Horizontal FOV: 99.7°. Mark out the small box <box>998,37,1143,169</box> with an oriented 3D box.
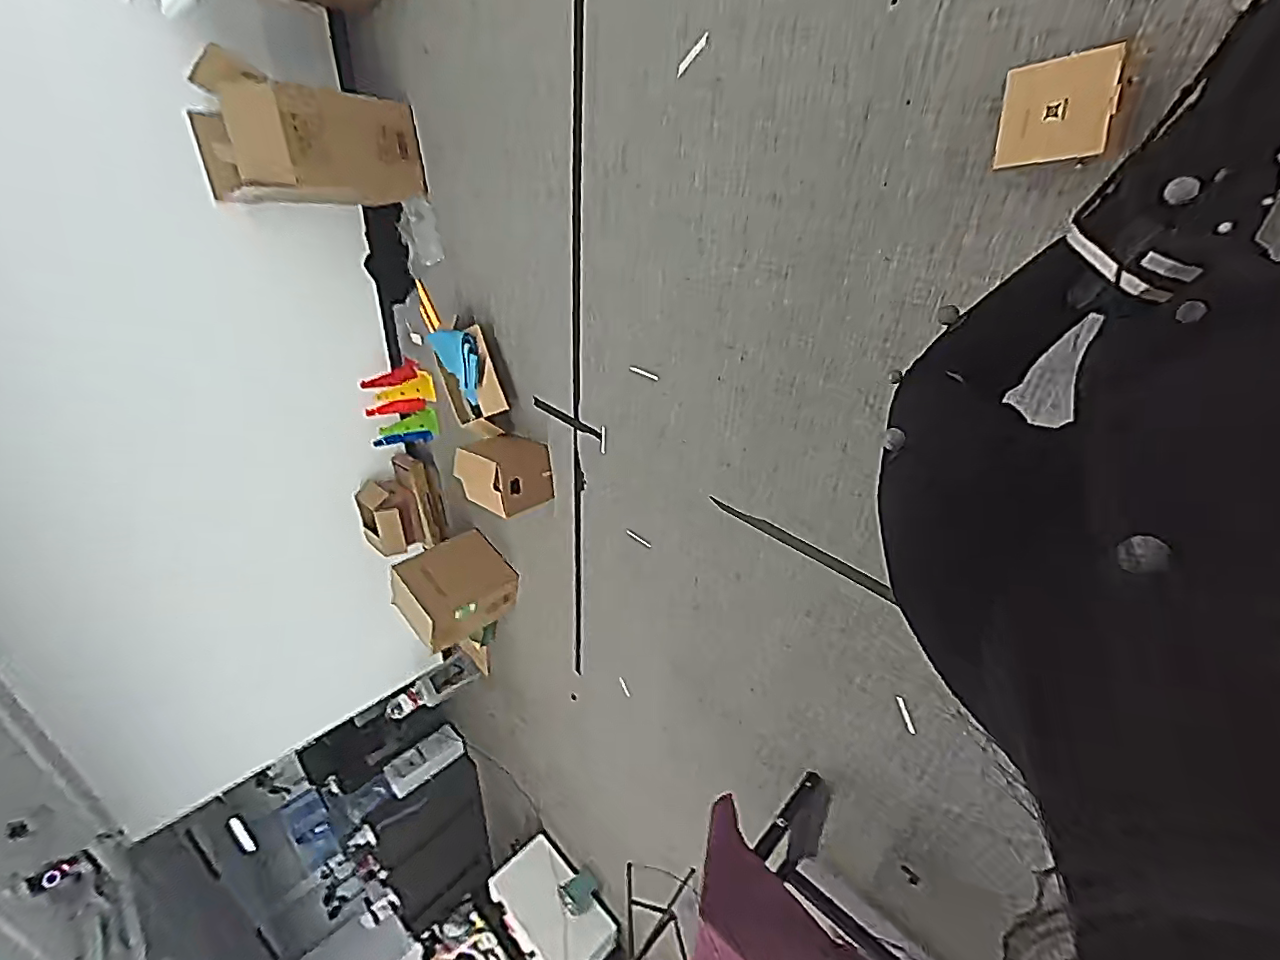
[{"bbox_3d":[0.812,-0.697,1.021,0.179,0.176,0.168,18,120,43],"label":"small box"}]
